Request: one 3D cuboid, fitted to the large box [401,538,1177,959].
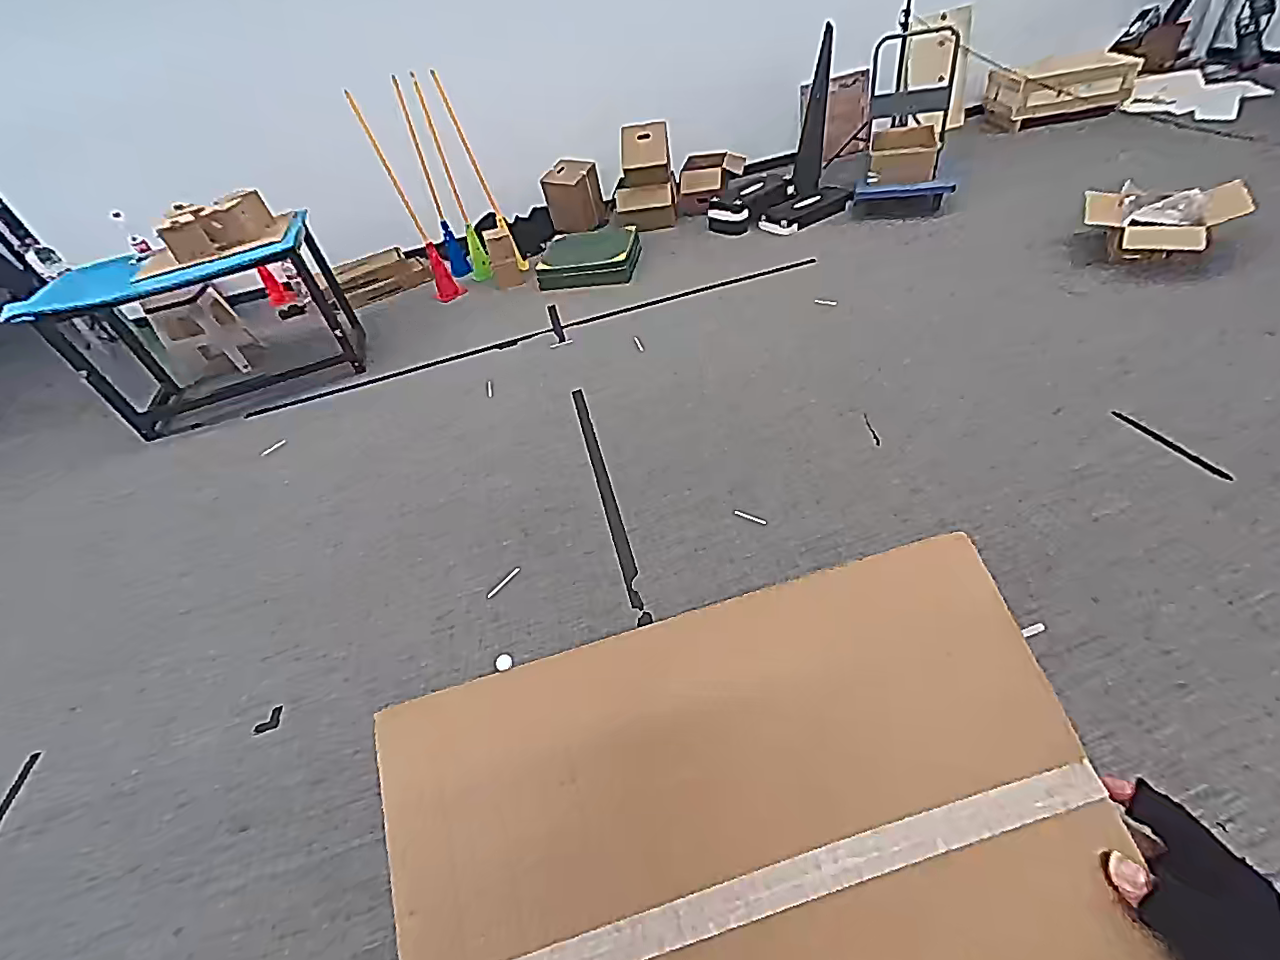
[{"bbox_3d":[0.081,0.286,0.452,0.408,0.320,0.320,-17,71,-3],"label":"large box"}]
